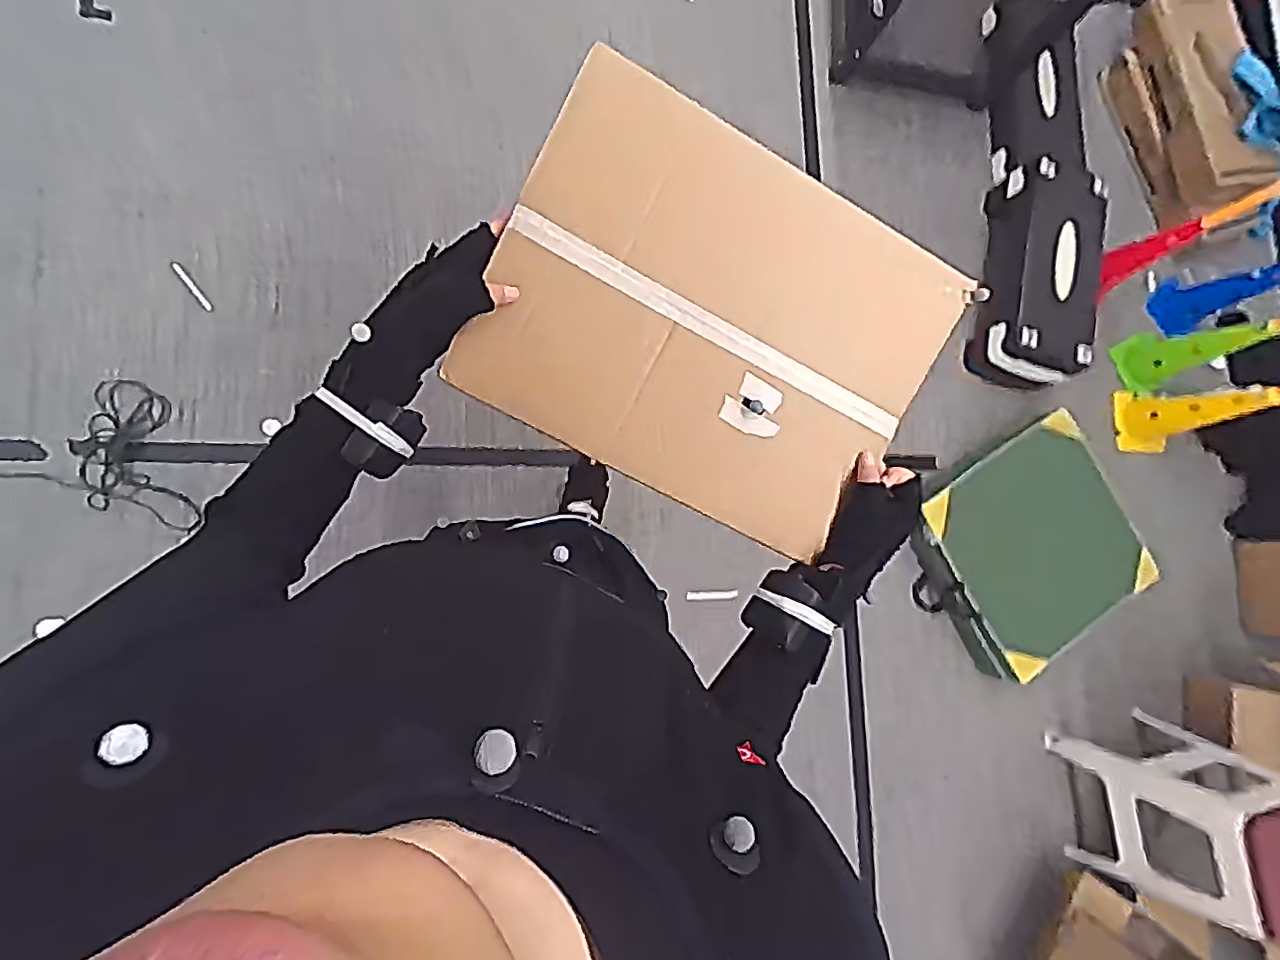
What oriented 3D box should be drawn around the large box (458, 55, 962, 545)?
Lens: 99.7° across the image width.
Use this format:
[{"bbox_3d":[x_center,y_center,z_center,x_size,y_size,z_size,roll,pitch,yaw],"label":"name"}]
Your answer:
[{"bbox_3d":[0.056,-0.174,0.655,0.408,0.320,0.320,27,97,-10],"label":"large box"}]
